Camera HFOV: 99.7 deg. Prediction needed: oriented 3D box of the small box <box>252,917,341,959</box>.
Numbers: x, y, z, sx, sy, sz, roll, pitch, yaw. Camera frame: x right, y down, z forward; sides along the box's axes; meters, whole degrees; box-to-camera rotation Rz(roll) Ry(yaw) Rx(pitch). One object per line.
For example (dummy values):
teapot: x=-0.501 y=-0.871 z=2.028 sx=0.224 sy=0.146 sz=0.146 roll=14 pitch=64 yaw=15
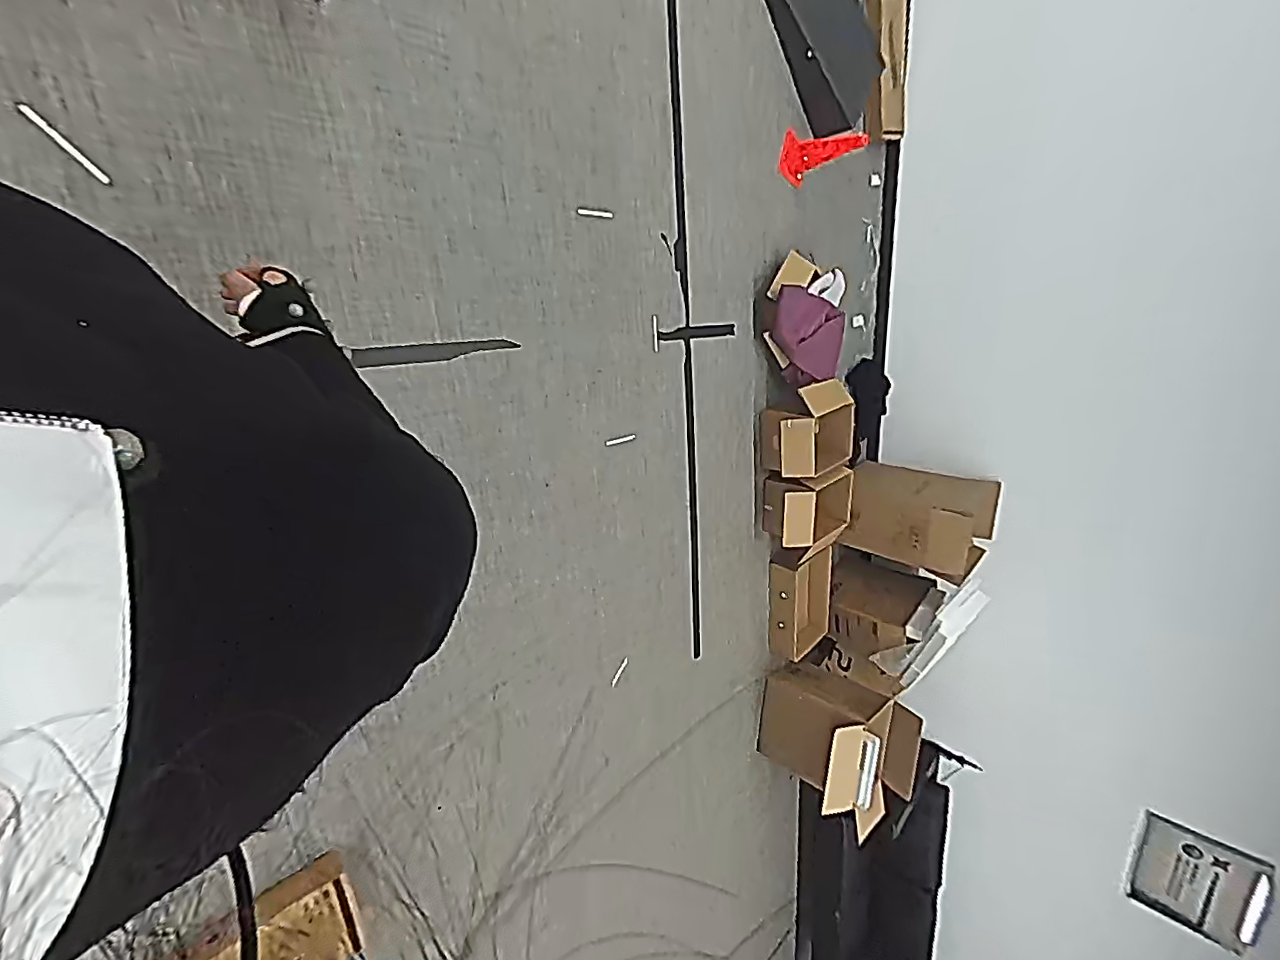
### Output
small box: x=-0.871 y=1.283 z=1.387 sx=0.168 sy=0.176 sz=0.179 roll=-17 pitch=112 yaw=-42
